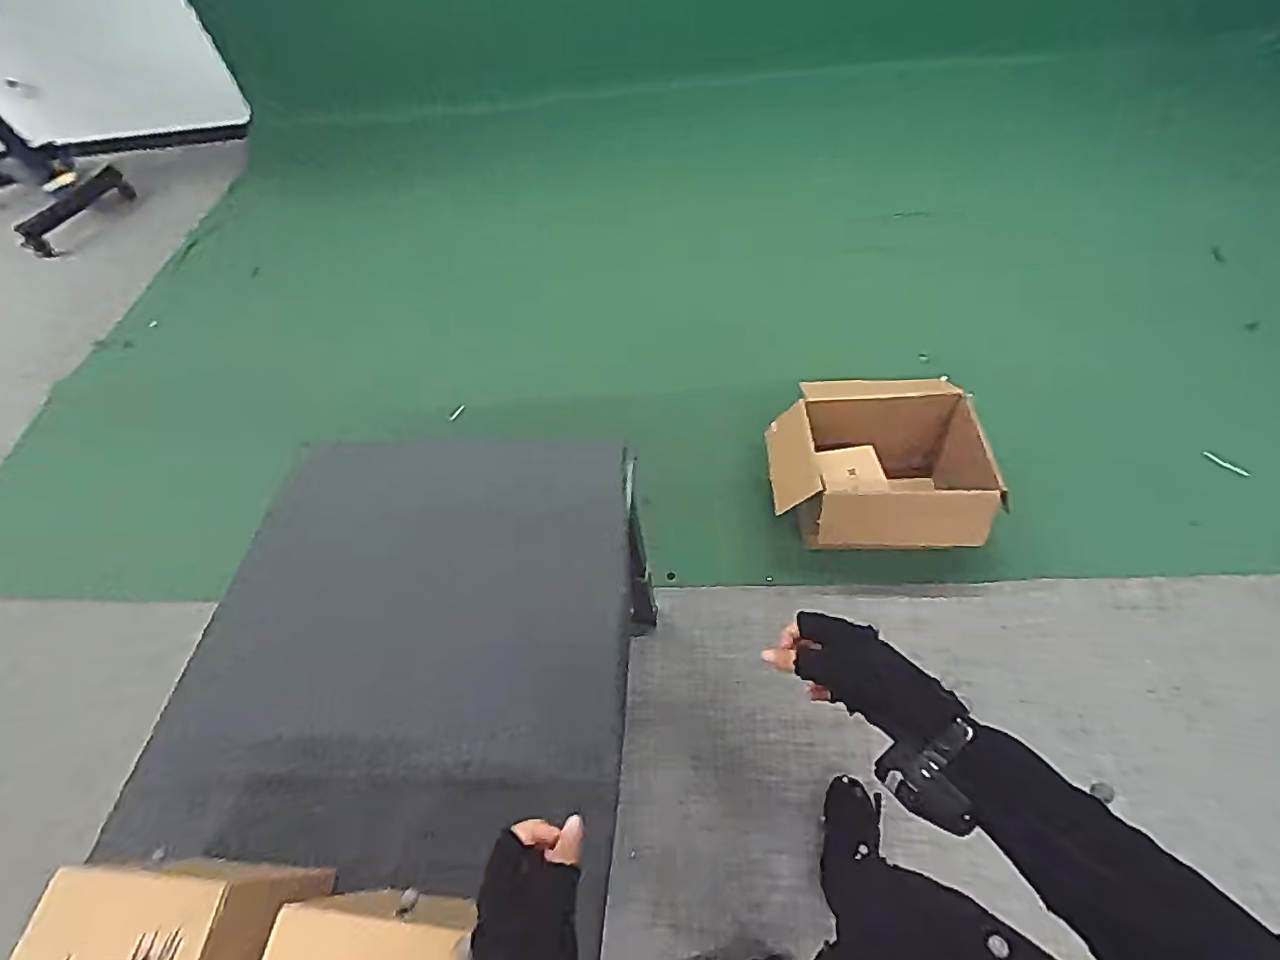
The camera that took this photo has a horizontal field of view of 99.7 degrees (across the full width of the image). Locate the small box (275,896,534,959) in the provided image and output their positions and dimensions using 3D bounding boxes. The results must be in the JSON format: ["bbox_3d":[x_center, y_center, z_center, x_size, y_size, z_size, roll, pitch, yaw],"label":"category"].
[{"bbox_3d":[-0.212,0.480,0.474,0.179,0.176,0.168,0,56,9],"label":"small box"}]
